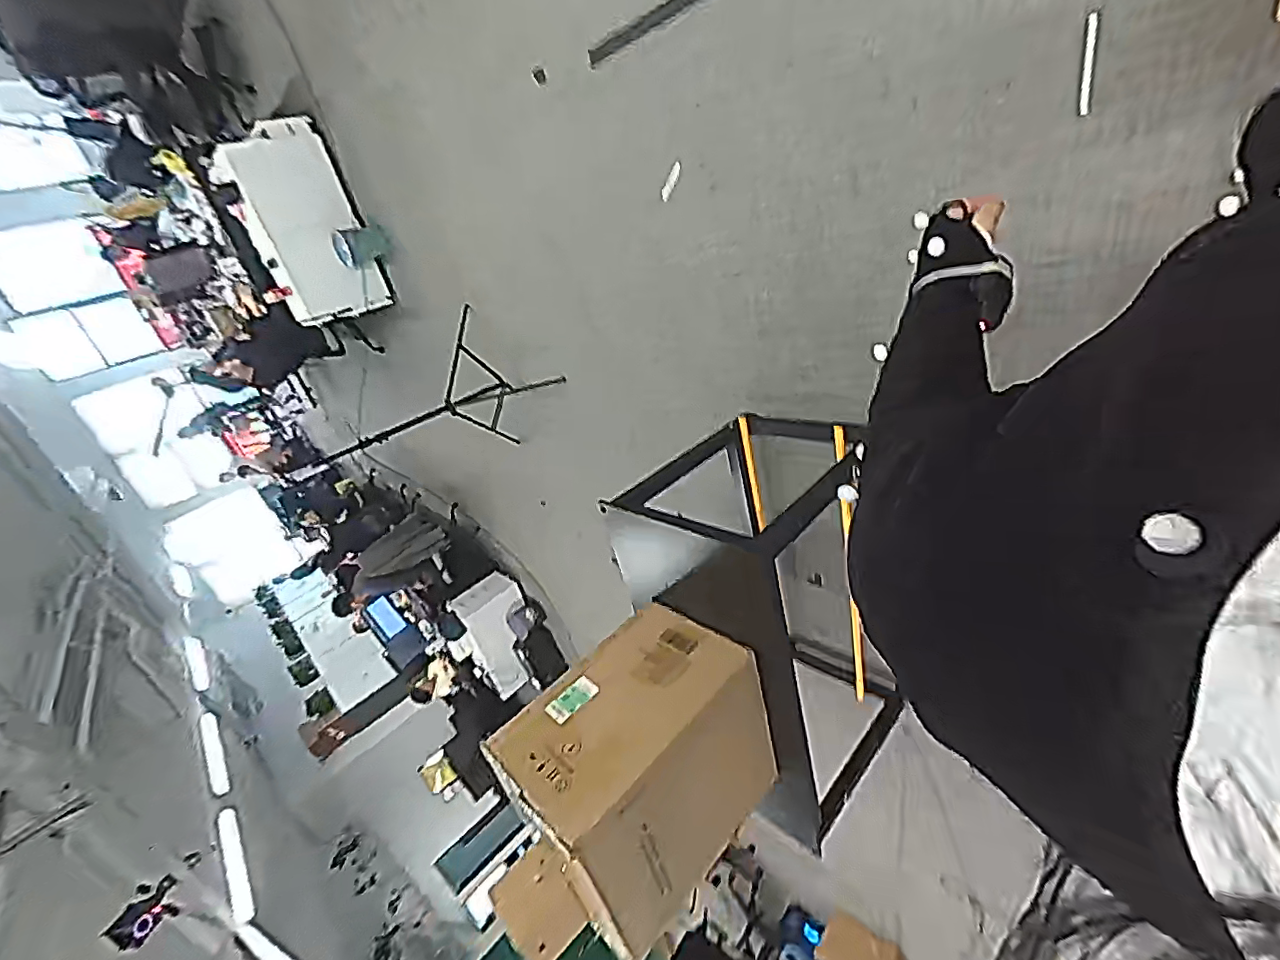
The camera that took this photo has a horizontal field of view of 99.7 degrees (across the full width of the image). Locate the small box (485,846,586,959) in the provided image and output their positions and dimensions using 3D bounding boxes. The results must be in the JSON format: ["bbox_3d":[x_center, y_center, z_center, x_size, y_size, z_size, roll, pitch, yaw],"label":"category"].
[{"bbox_3d":[-0.261,1.100,1.384,0.168,0.176,0.179,15,128,48],"label":"small box"}]
